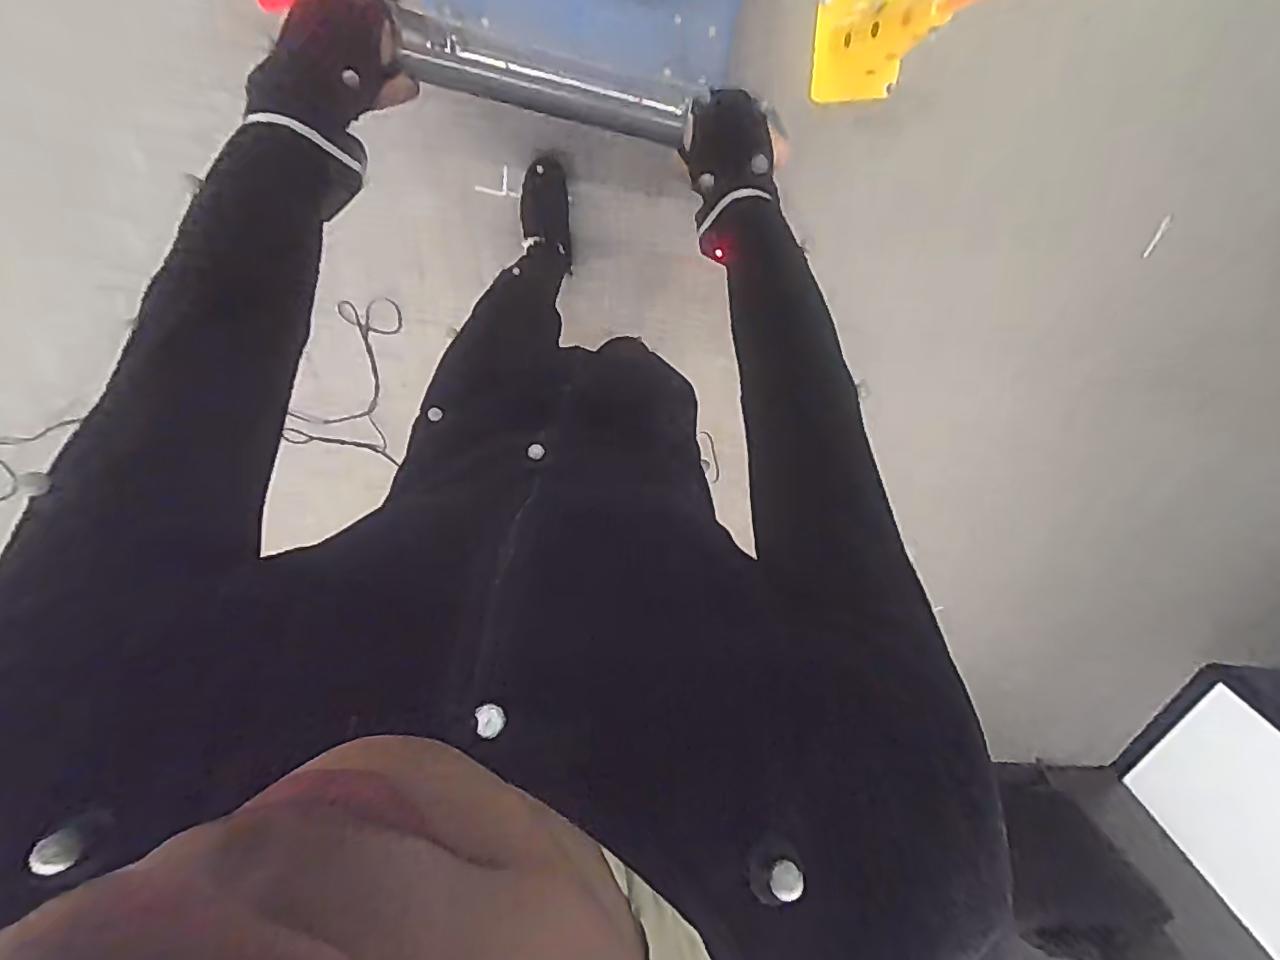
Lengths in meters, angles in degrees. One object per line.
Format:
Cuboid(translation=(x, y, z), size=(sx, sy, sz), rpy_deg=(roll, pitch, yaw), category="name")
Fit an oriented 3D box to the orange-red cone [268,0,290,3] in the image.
Cuboid(translation=(-0.673, -0.961, 0.888), size=(0.199, 0.360, 0.198), rpy_deg=(-7, 121, 1), category="orange-red cone")
